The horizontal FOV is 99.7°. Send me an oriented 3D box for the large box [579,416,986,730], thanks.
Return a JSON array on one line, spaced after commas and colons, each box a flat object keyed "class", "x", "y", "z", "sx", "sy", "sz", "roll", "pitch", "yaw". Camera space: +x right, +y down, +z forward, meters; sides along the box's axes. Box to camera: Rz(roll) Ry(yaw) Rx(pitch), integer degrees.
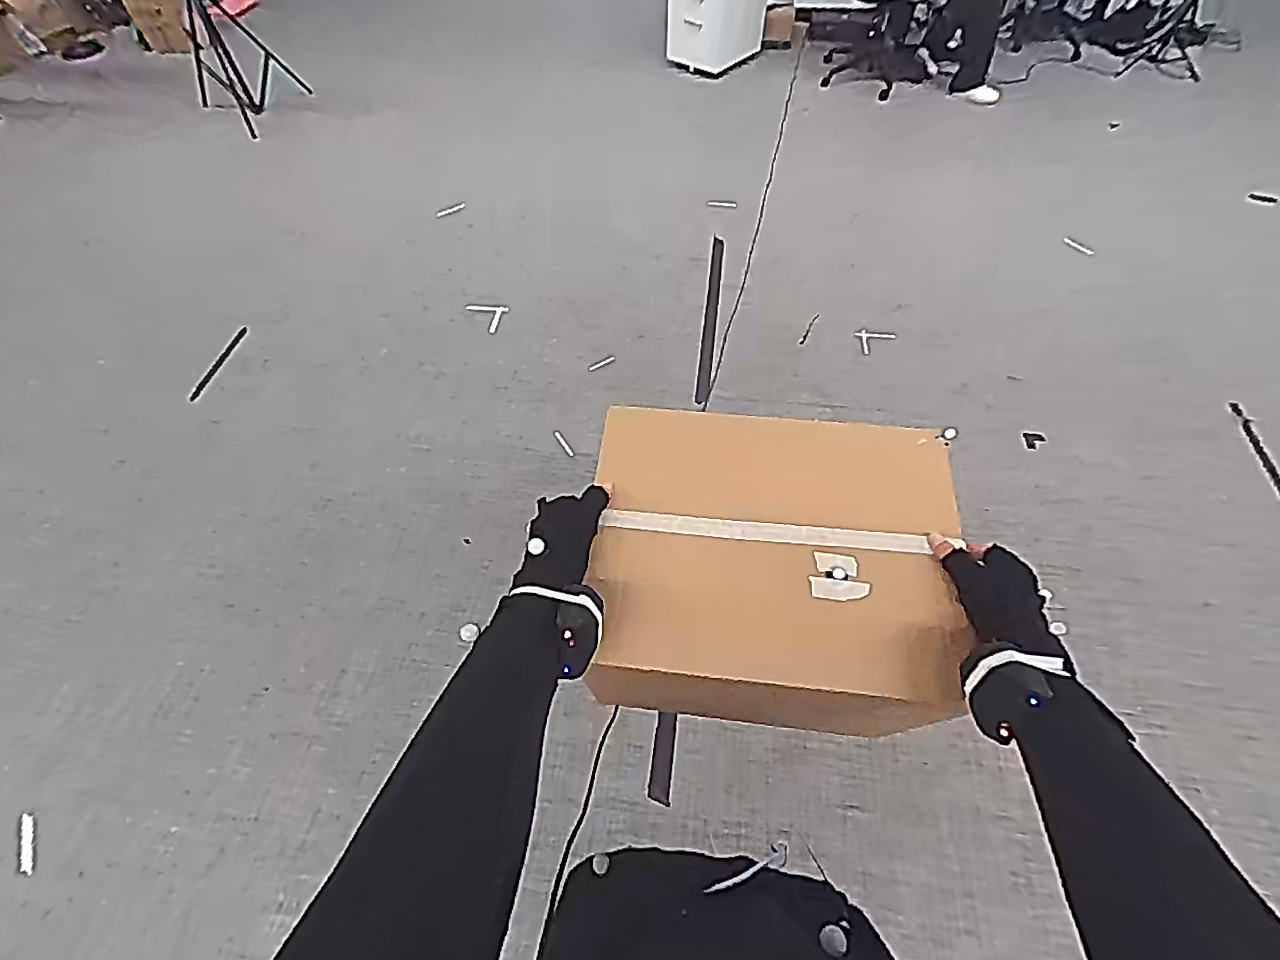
[{"class": "large box", "x": 0.154, "y": 0.137, "z": 0.730, "sx": 0.408, "sy": 0.320, "sz": 0.320, "roll": 5, "pitch": 61, "yaw": 5}]
